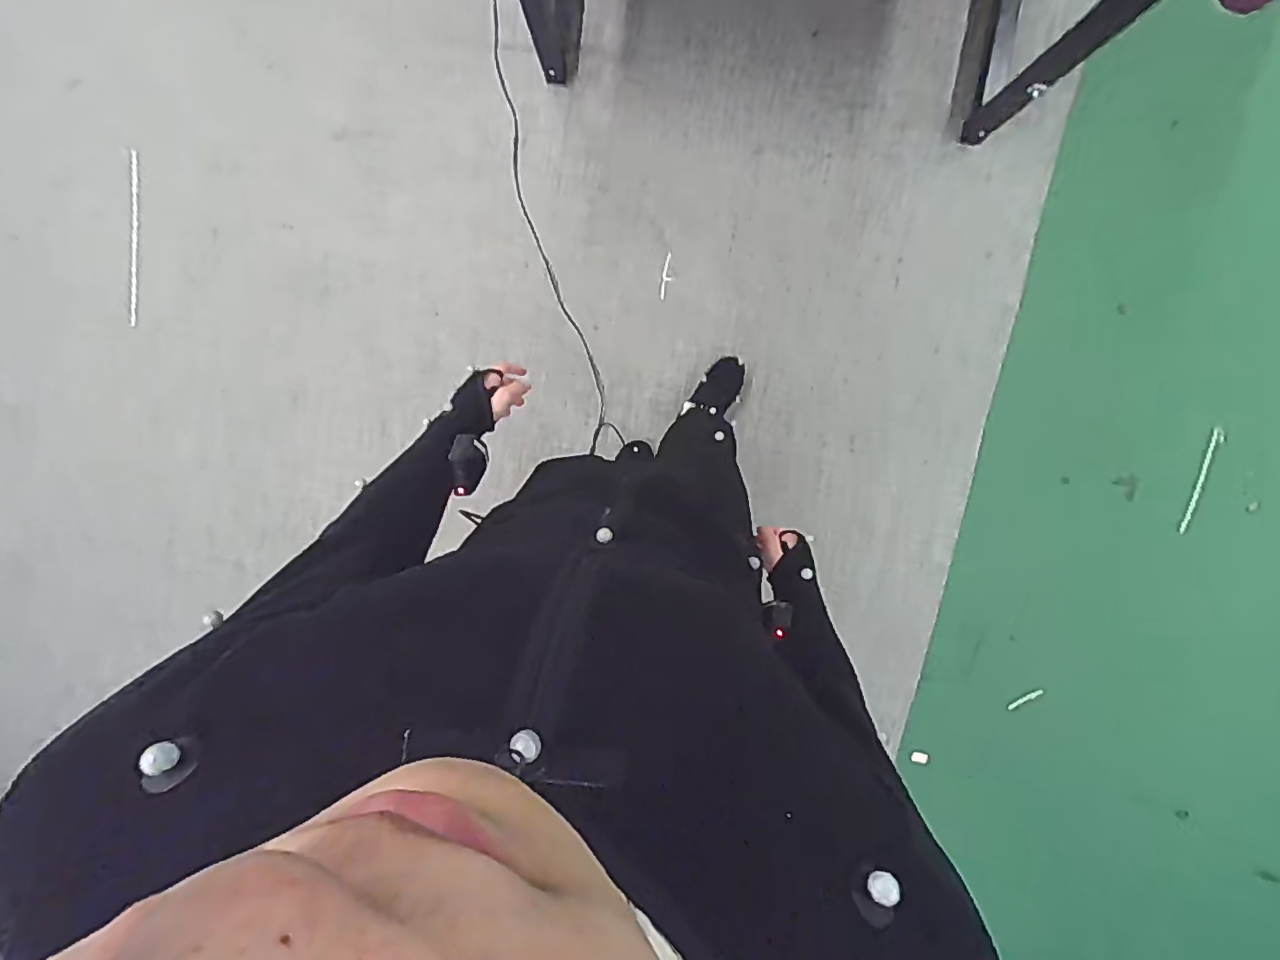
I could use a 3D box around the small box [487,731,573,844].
[{"bbox_3d":[-0.287,0.816,1.448,0.168,0.176,0.179,17,99,-1],"label":"small box"}]
